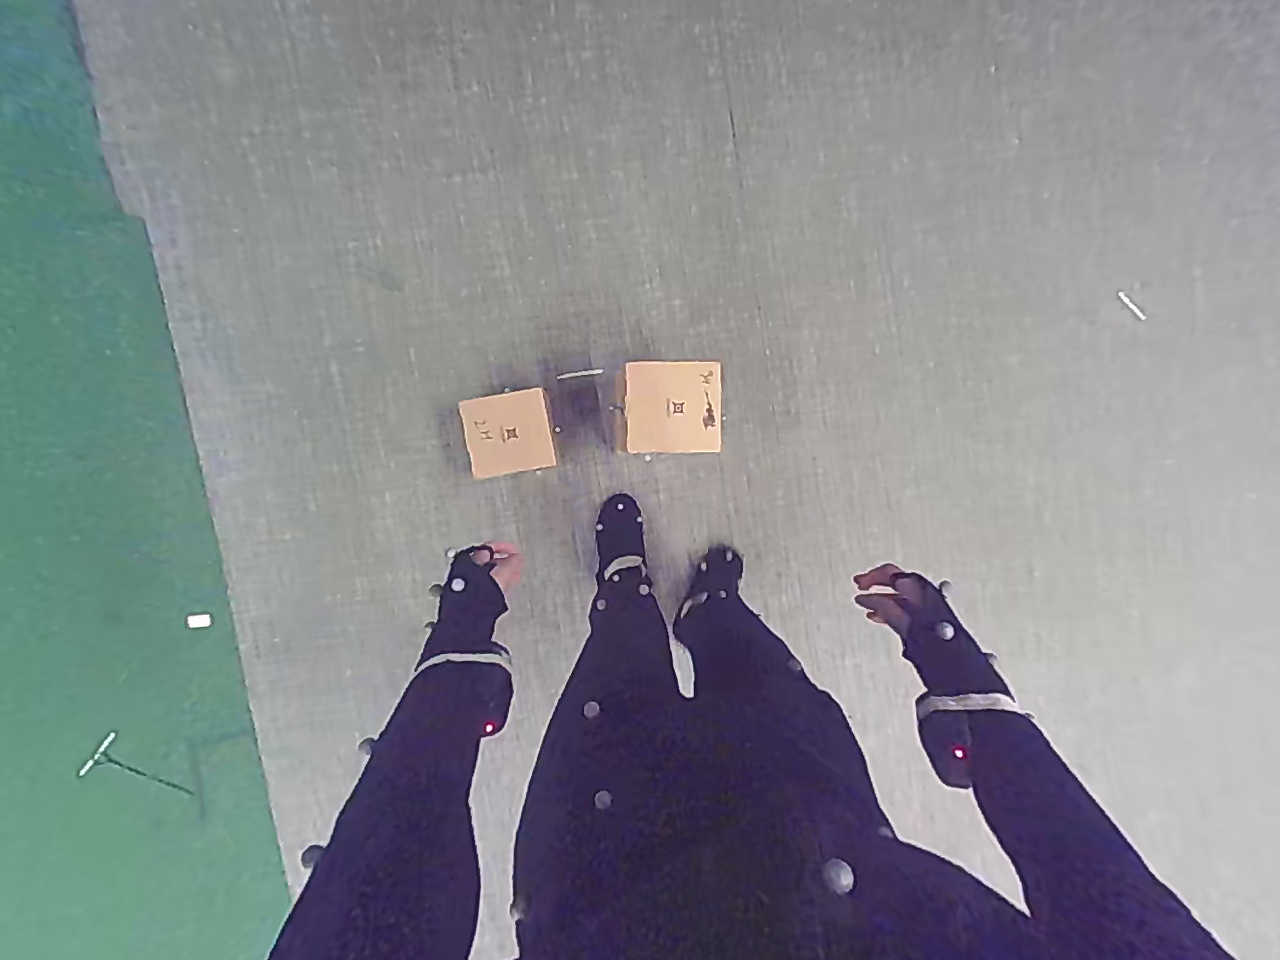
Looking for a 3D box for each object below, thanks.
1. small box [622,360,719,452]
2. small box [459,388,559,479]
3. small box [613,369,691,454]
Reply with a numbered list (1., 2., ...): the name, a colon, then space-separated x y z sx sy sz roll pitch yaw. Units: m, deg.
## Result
1. small box: 0.052 -0.138 1.055 0.179 0.176 0.168 -1 94 -4
2. small box: -0.278 -0.102 1.194 0.179 0.176 0.168 -11 94 -3
3. small box: 0.023 -0.149 1.217 0.168 0.176 0.179 -1 94 -4
